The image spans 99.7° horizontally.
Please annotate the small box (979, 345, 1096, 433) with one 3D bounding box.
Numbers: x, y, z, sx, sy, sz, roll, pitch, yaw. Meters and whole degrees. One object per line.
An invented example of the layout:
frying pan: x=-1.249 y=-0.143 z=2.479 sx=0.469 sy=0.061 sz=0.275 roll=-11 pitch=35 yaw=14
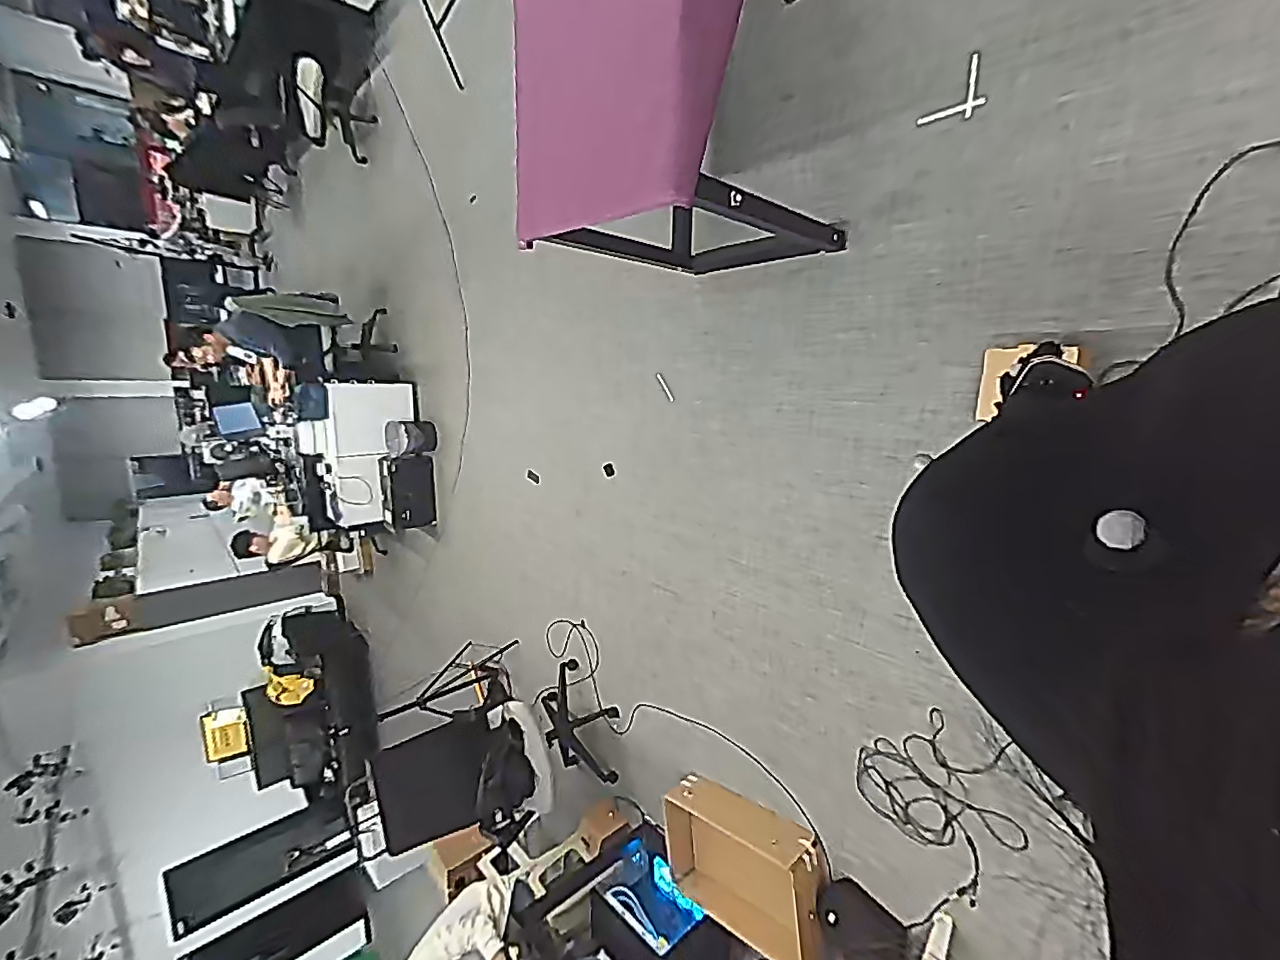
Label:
small box: x=0.877 y=-0.198 z=1.189 sx=0.168 sy=0.176 sz=0.179 roll=14 pitch=104 yaw=46
